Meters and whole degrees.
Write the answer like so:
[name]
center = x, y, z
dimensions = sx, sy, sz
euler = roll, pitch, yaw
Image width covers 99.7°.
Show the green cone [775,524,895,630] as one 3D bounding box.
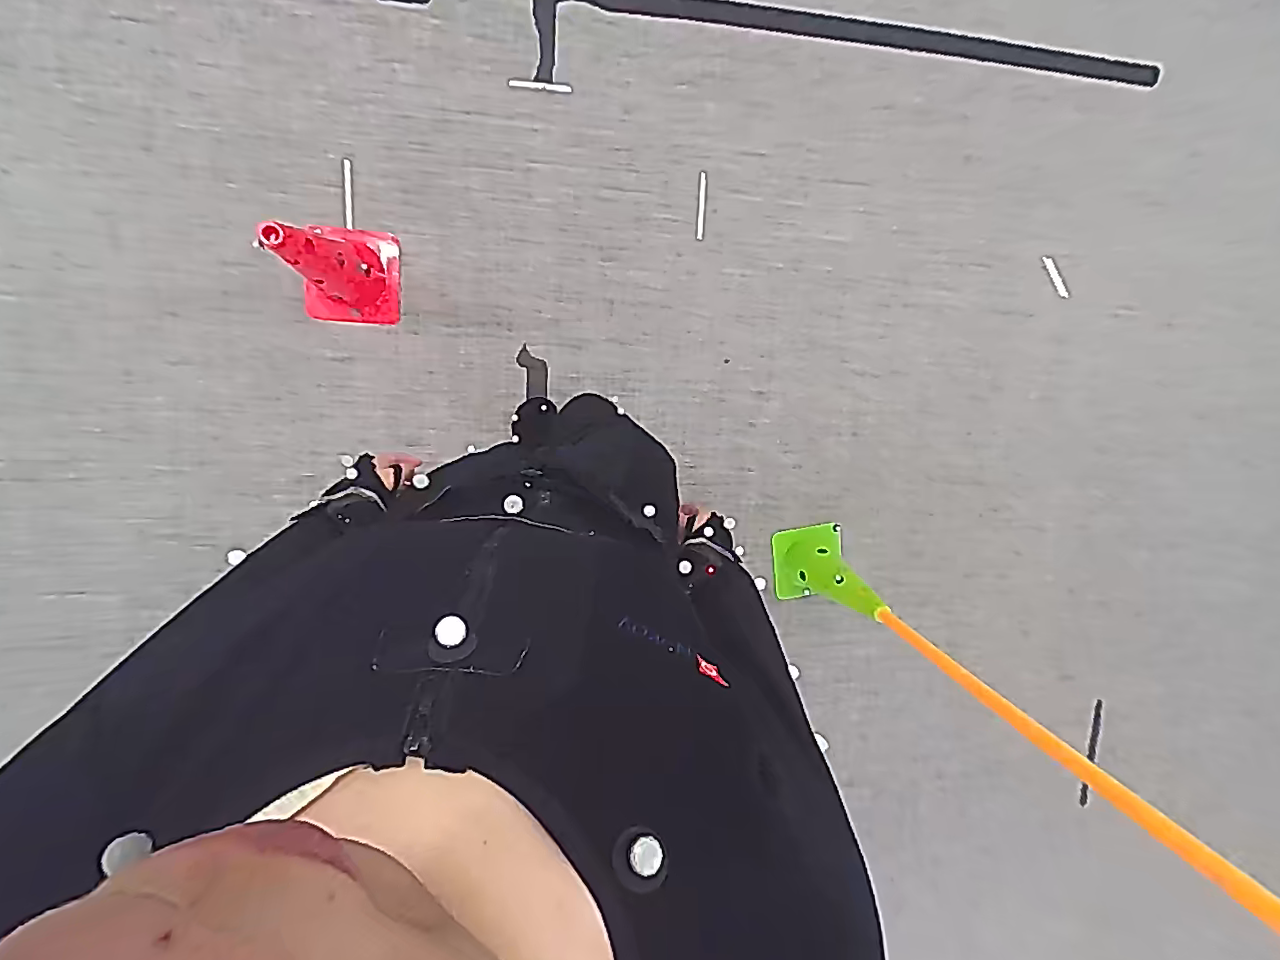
[green cone]
center = 0.497, 0.263, 1.329
dimensions = 0.200, 0.368, 0.202
euler = -9, 103, -7
